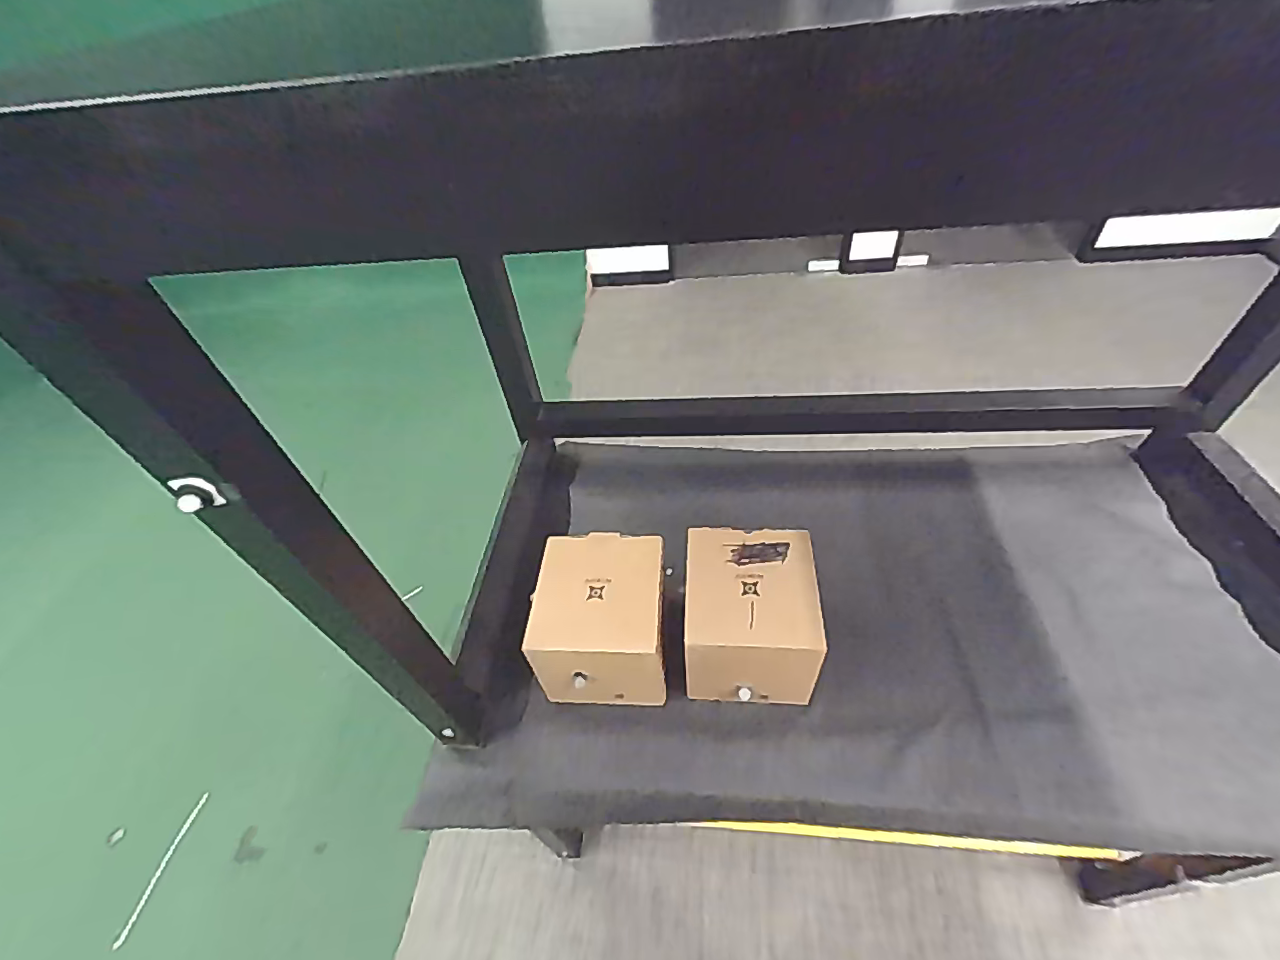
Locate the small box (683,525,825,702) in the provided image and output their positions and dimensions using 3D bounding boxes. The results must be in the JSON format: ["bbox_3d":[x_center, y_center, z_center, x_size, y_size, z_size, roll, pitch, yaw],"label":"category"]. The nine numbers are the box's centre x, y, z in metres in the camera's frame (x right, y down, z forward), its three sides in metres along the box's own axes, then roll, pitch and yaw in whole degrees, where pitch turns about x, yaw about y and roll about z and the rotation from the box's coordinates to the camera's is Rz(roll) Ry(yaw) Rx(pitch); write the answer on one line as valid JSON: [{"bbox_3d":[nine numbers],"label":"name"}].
[{"bbox_3d":[0.147,0.181,0.740,0.168,0.176,0.179,0,47,8],"label":"small box"}]

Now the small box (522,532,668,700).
[{"bbox_3d":[-0.049,0.192,0.757,0.168,0.176,0.179,0,46,7],"label":"small box"}]
